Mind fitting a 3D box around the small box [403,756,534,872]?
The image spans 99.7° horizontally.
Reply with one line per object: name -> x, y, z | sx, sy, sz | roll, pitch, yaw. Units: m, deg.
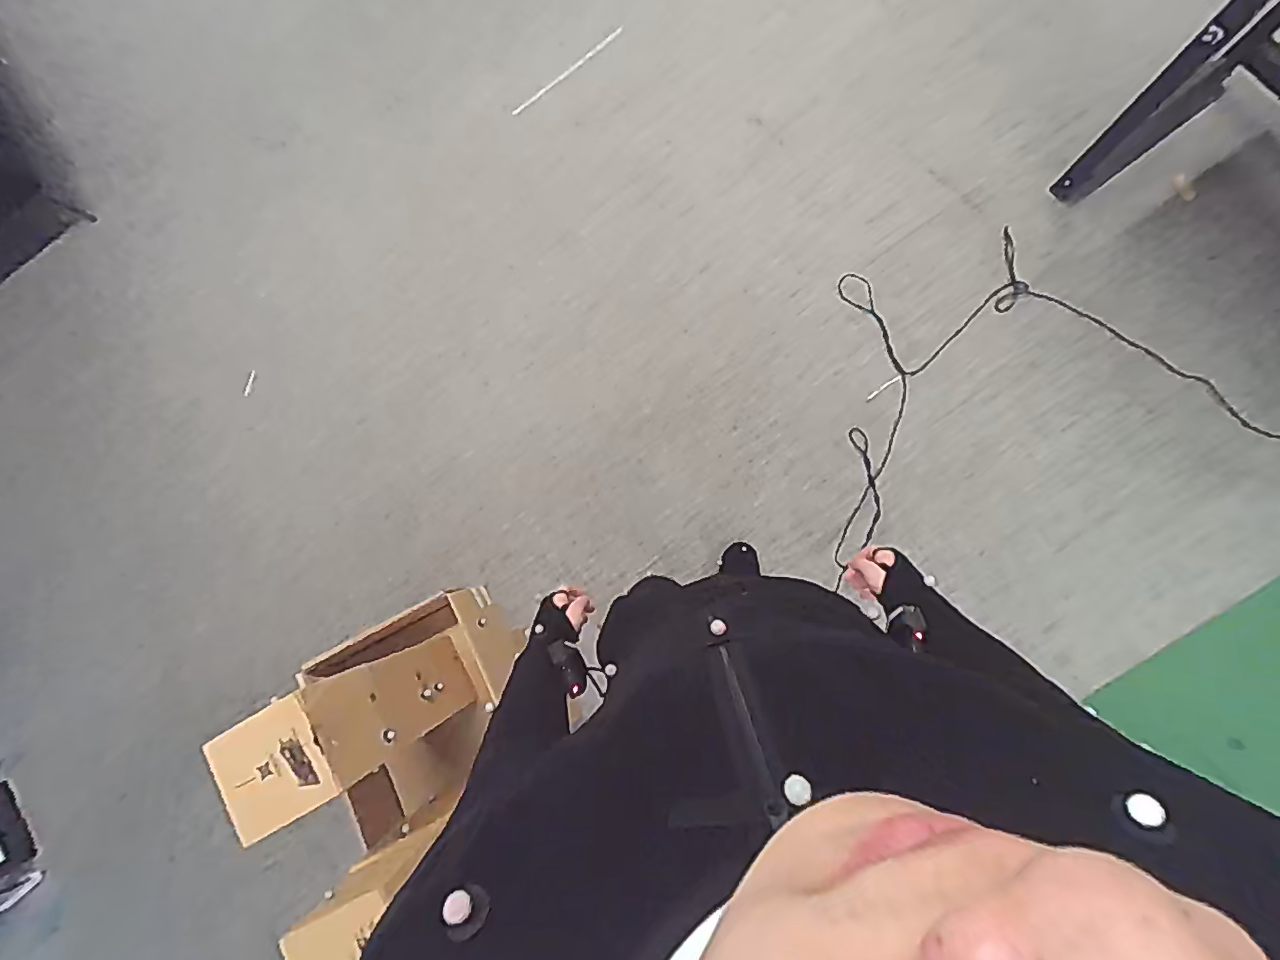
small box -> -0.352, 0.722, 1.137 | 0.179, 0.176, 0.168 | -28, 82, 4

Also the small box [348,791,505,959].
small box -> -0.375, 0.707, 0.978 | 0.179, 0.176, 0.168 | -28, 81, 3

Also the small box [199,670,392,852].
small box -> -0.529, 0.430, 0.860 | 0.179, 0.176, 0.168 | -30, 82, 4

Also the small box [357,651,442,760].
small box -> -0.513, 0.448, 1.022 | 0.179, 0.176, 0.168 | -30, 82, 3
